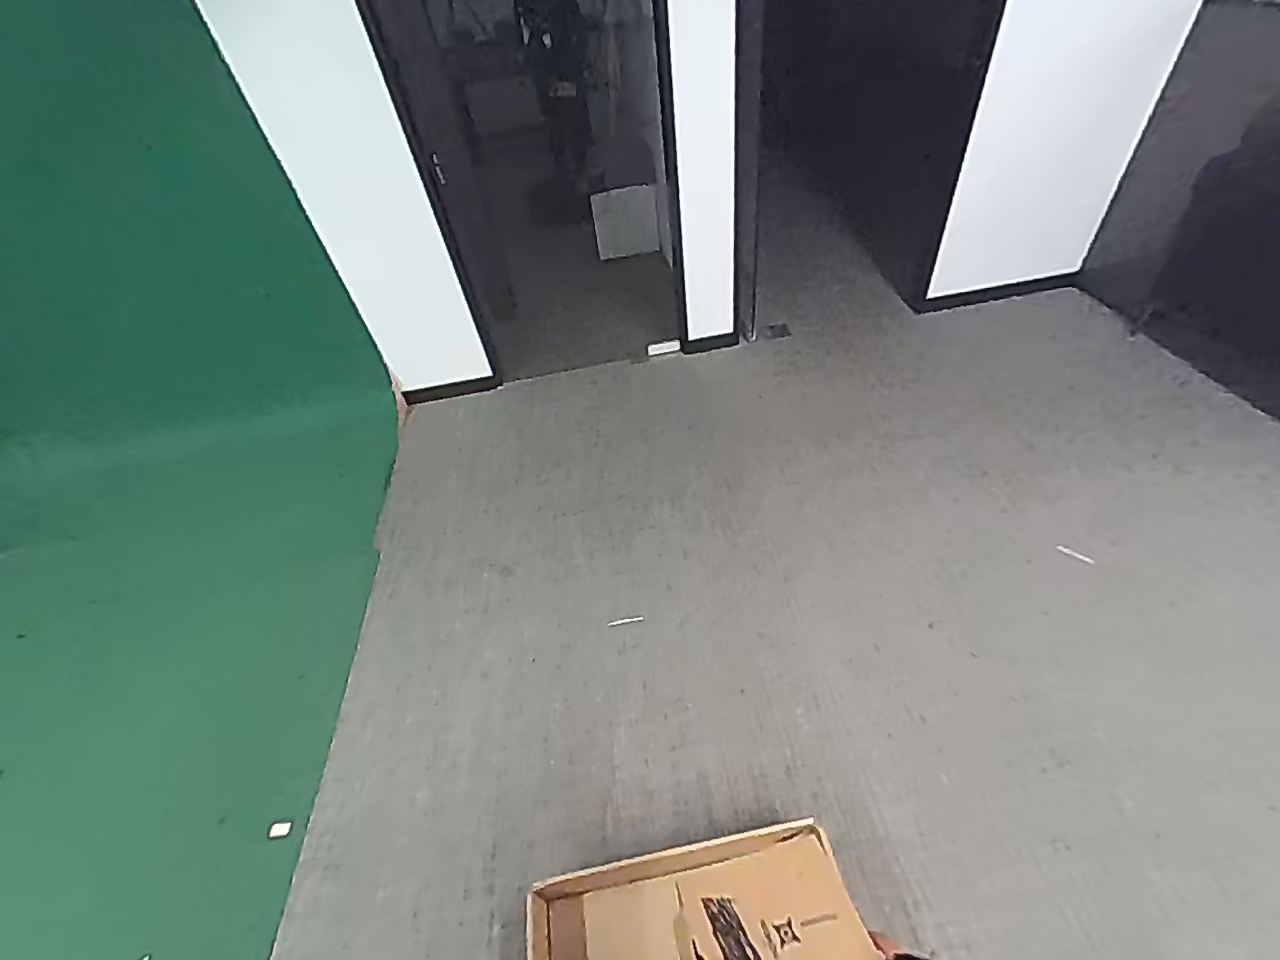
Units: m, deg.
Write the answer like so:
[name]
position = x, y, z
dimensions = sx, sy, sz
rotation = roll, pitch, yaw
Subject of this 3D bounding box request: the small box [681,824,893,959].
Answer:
[small box]
position = 0.159, 0.529, 0.589
dimensions = 0.179, 0.176, 0.168
rotation = -13, 24, -8
